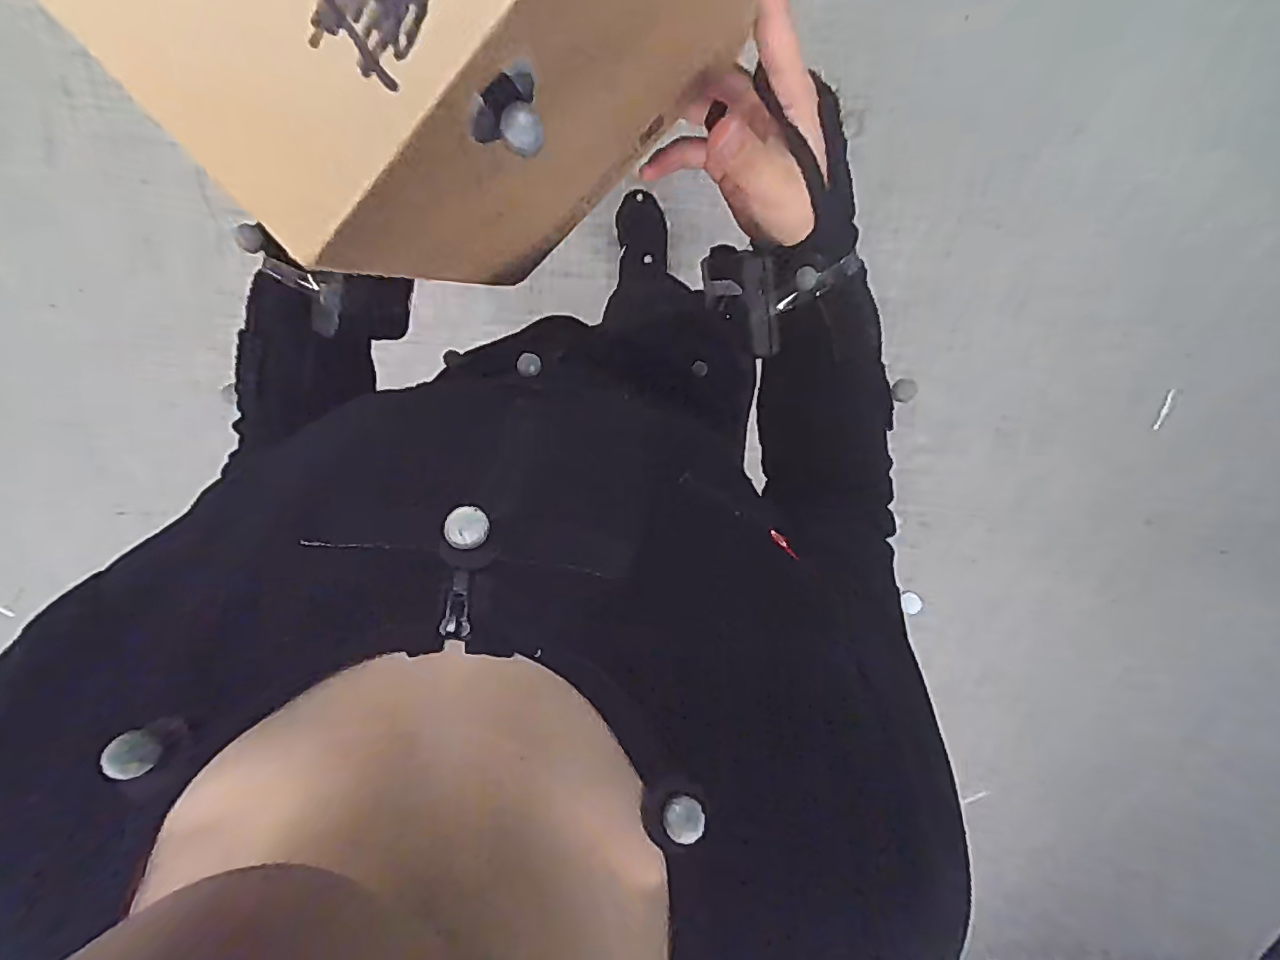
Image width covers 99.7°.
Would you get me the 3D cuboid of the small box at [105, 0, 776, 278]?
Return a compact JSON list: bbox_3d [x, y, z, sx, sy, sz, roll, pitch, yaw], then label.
[{"bbox_3d":[-0.064,-0.193,0.192,0.168,0.176,0.179,-40,99,17],"label":"small box"}]
